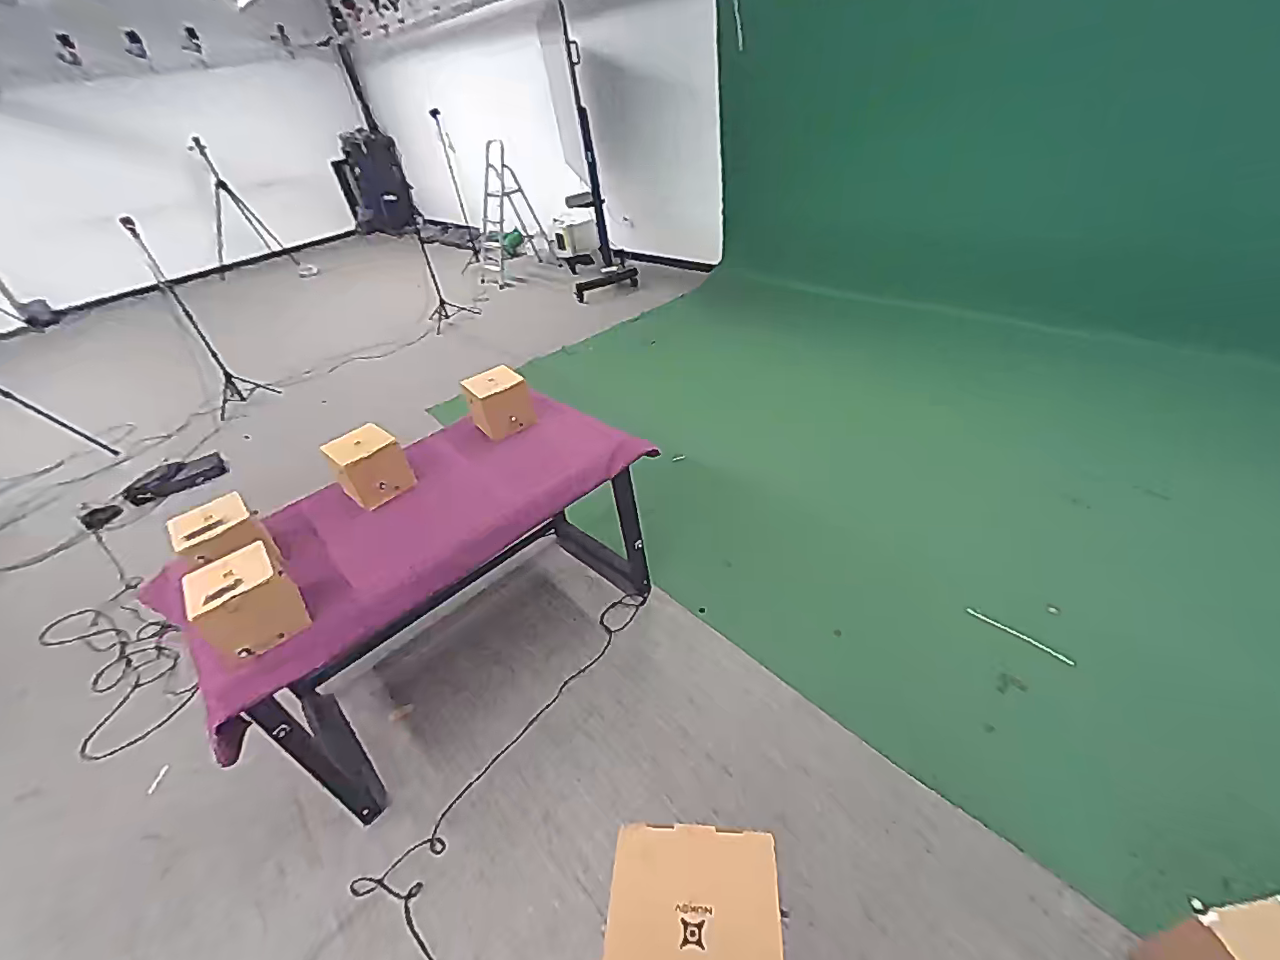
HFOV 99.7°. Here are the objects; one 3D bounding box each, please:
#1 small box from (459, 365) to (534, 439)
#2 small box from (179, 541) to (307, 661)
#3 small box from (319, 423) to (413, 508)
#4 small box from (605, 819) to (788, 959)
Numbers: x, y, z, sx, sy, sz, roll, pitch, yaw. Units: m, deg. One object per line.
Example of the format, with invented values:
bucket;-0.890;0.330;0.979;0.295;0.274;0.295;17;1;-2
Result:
small box;-0.484;-0.263;1.832;0.168;0.176;0.179;-30;43;-24
small box;-0.882;0.275;1.211;0.168;0.176;0.179;-32;41;-28
small box;-0.814;-0.042;1.616;0.179;0.176;0.168;25;49;35
small box;0.060;0.482;0.551;0.168;0.176;0.179;-2;36;8
